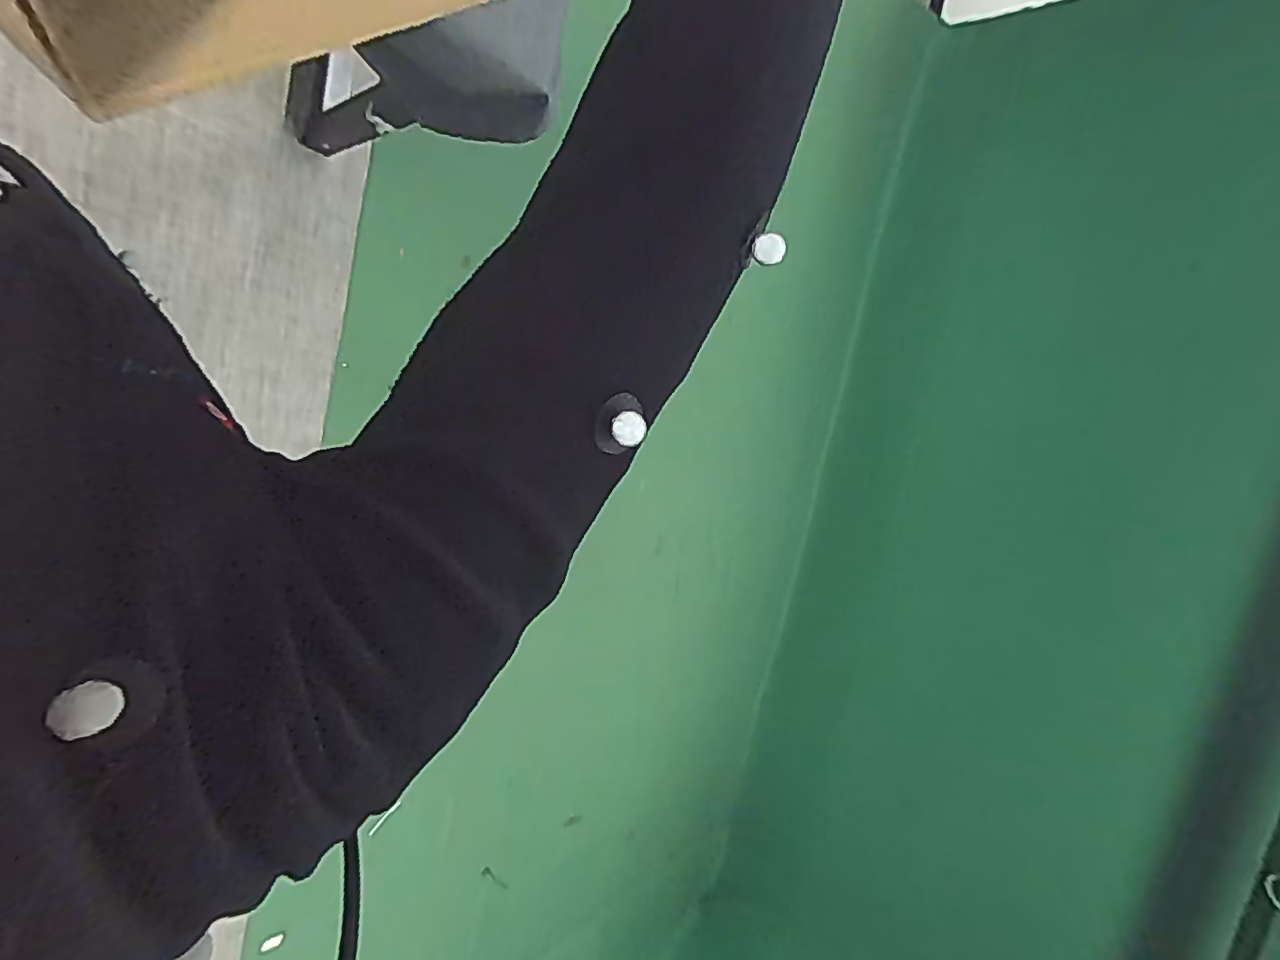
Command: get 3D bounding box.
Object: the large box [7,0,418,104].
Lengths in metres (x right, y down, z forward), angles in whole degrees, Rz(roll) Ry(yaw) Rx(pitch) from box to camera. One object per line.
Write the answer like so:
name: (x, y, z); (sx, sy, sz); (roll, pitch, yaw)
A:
large box: (-0.229, -0.443, 0.158); (0.408, 0.320, 0.320); (46, 62, -11)
